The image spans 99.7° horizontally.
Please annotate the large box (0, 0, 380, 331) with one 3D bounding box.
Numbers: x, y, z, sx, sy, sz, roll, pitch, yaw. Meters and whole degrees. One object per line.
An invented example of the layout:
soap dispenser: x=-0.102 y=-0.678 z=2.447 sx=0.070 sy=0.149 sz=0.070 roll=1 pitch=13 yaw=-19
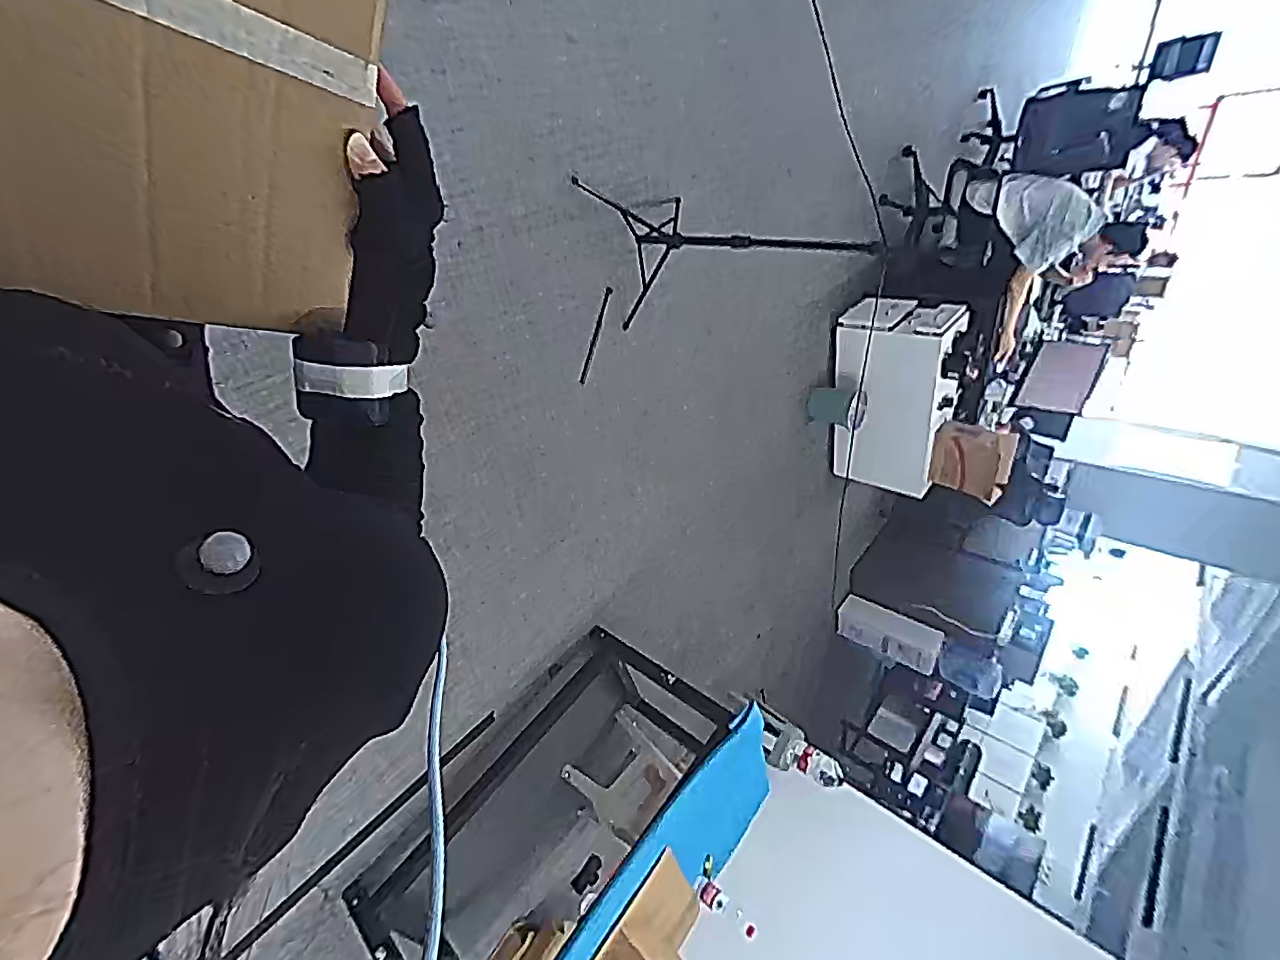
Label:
large box: x=-0.399 y=-0.302 z=0.275 sx=0.408 sy=0.320 sz=0.320 roll=-5 pitch=130 yaw=-44
